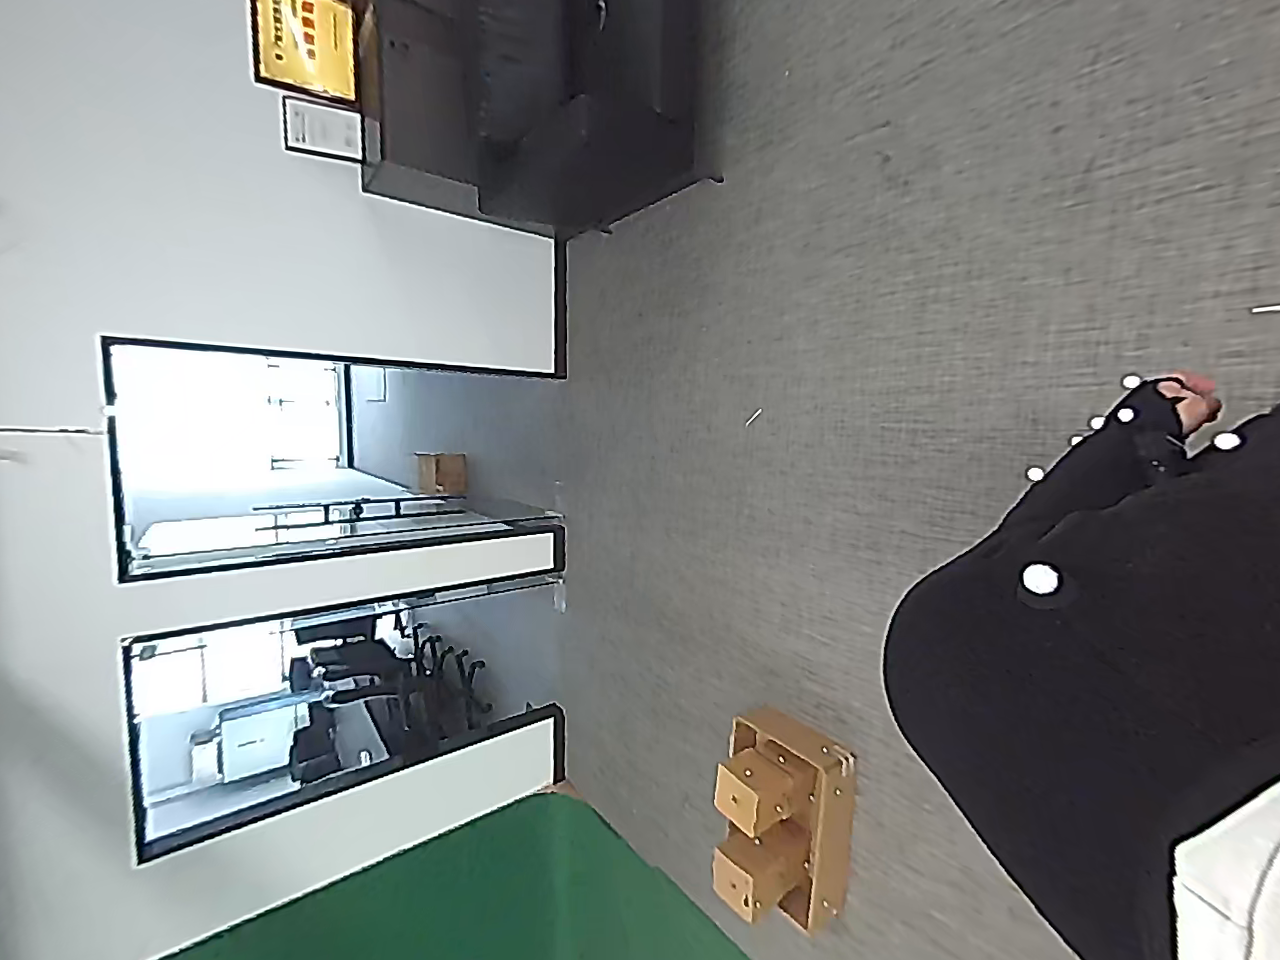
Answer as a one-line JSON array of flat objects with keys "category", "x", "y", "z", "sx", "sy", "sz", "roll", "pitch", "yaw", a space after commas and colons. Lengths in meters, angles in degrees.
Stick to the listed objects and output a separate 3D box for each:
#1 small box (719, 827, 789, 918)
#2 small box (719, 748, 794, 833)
[{"category": "small box", "x": 0.395, "y": 1.351, "z": 1.883, "sx": 0.179, "sy": 0.176, "sz": 0.168, "roll": 7, "pitch": 99, "yaw": 52}, {"category": "small box", "x": 0.398, "y": 1.052, "z": 1.855, "sx": 0.179, "sy": 0.176, "sz": 0.168, "roll": 16, "pitch": 105, "yaw": 49}]
